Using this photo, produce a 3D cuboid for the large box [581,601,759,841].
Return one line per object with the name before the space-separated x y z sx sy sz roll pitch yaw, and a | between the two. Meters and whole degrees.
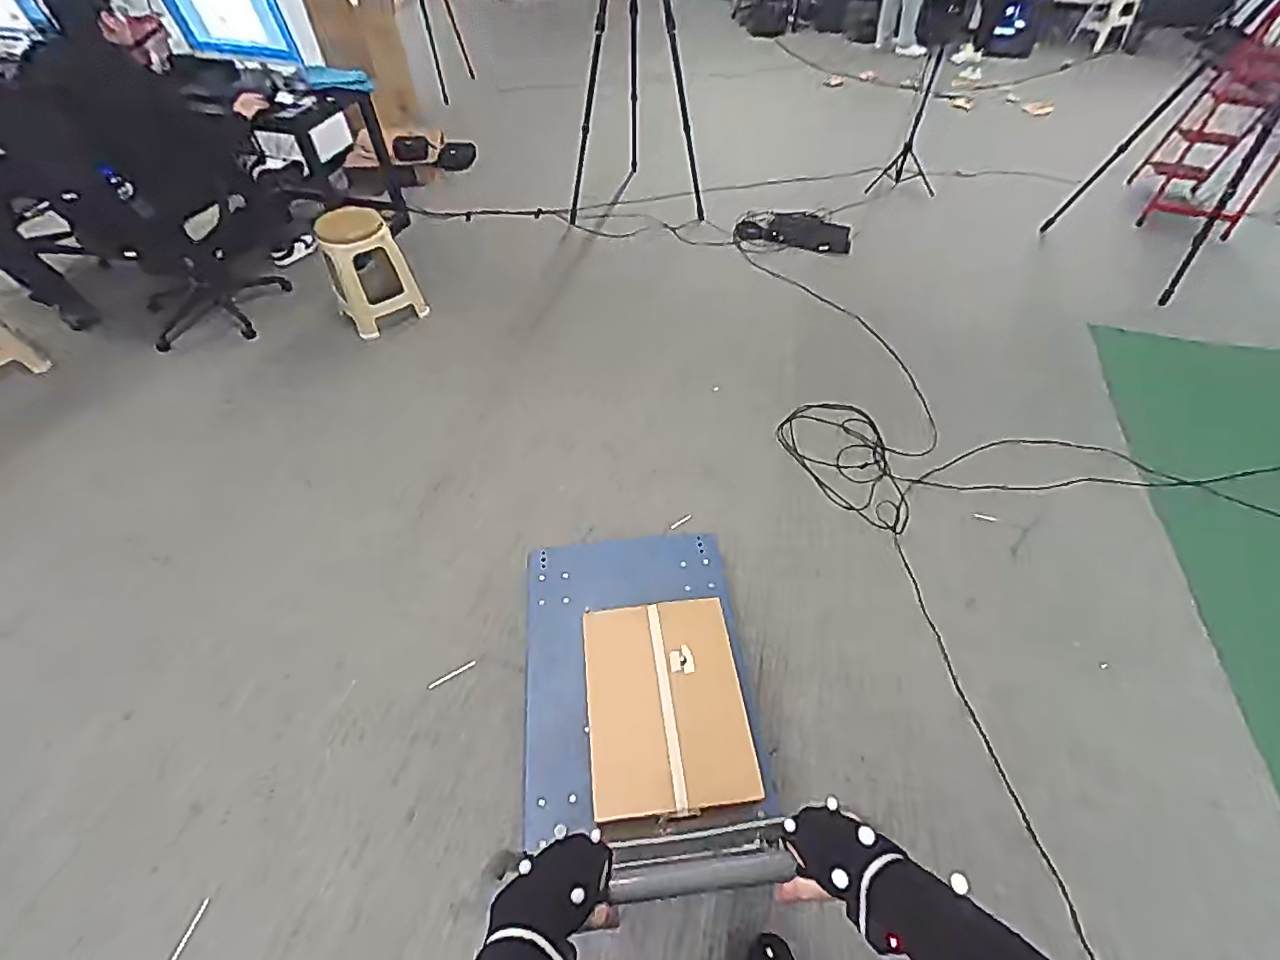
large box | 0.047 0.541 1.222 0.320 0.320 0.408 -5 50 -5
